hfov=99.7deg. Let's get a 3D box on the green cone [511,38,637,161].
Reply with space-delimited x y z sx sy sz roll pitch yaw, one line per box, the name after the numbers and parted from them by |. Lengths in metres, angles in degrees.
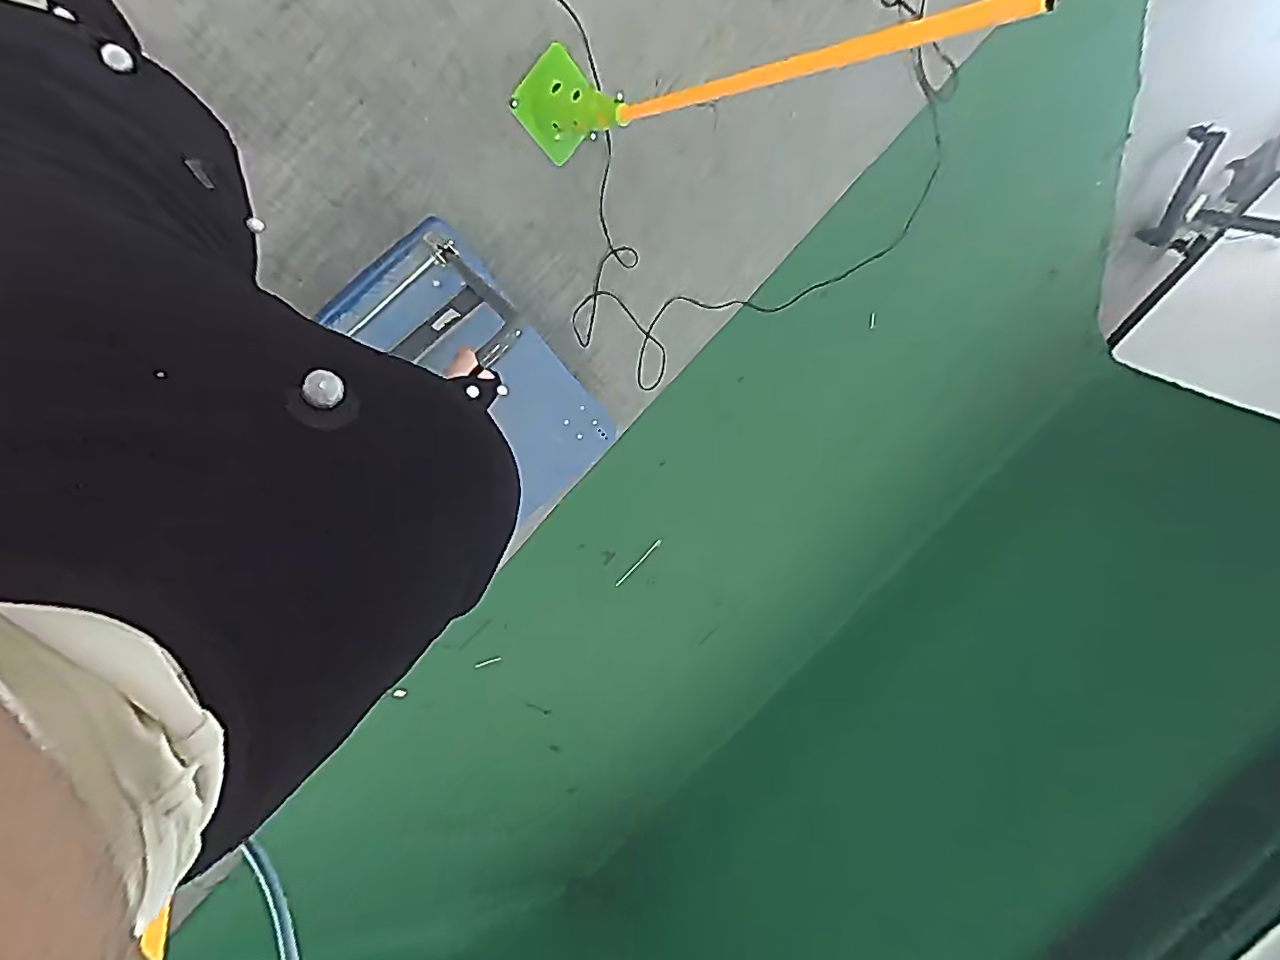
-0.116 -0.877 1.267 0.202 0.368 0.200 -51 137 6 | green cone
